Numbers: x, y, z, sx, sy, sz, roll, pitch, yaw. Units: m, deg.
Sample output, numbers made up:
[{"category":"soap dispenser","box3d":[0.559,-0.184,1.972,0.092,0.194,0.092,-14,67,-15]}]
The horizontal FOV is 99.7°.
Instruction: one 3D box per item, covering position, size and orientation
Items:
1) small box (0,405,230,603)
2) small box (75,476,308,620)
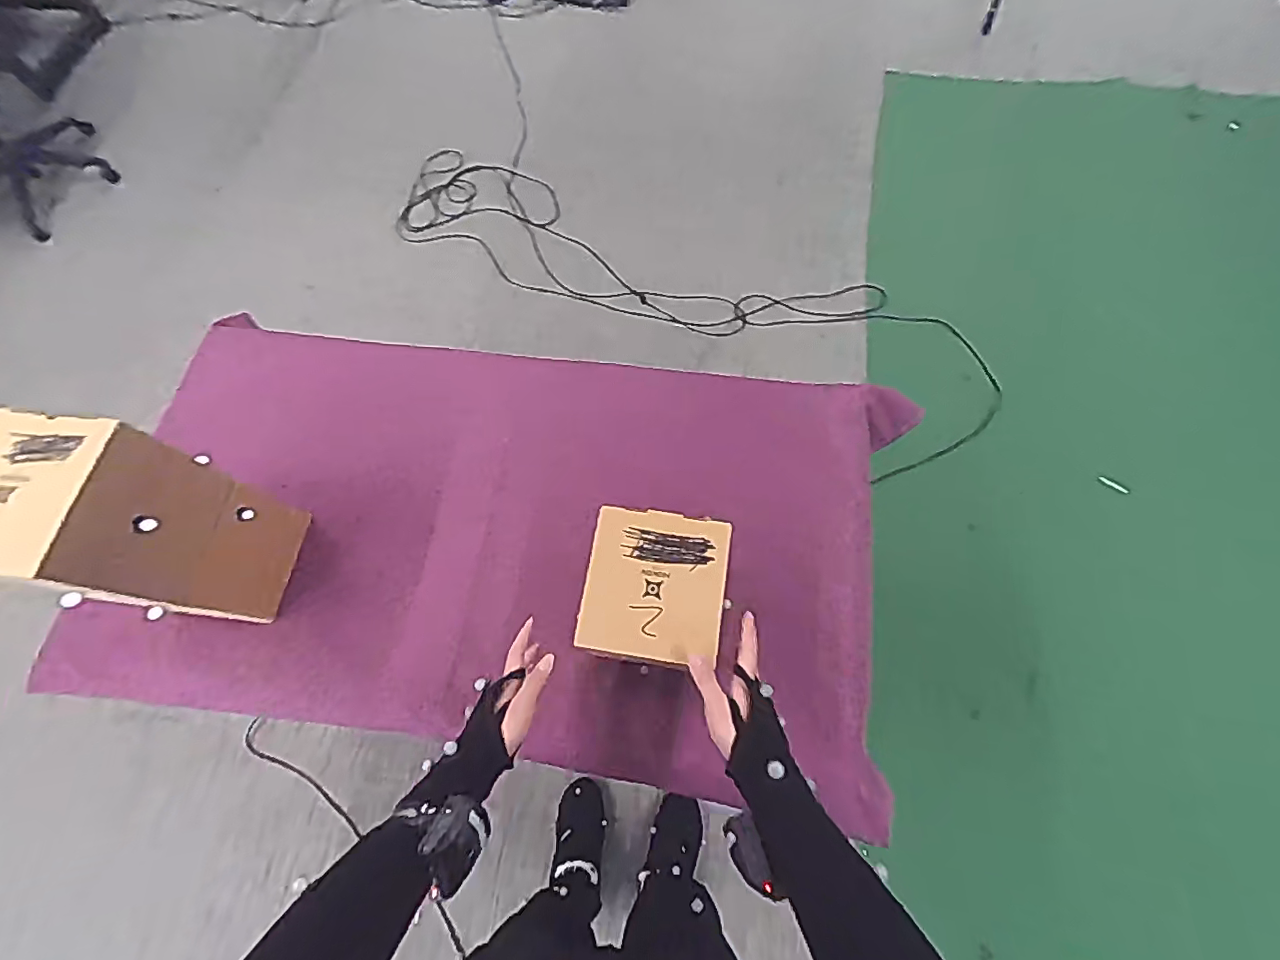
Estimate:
[{"category":"small box","box3d":[-0.635,0.035,0.631,0.168,0.176,0.179,6,69,7]},{"category":"small box","box3d":[-0.626,0.099,0.782,0.168,0.176,0.179,6,68,6]}]
